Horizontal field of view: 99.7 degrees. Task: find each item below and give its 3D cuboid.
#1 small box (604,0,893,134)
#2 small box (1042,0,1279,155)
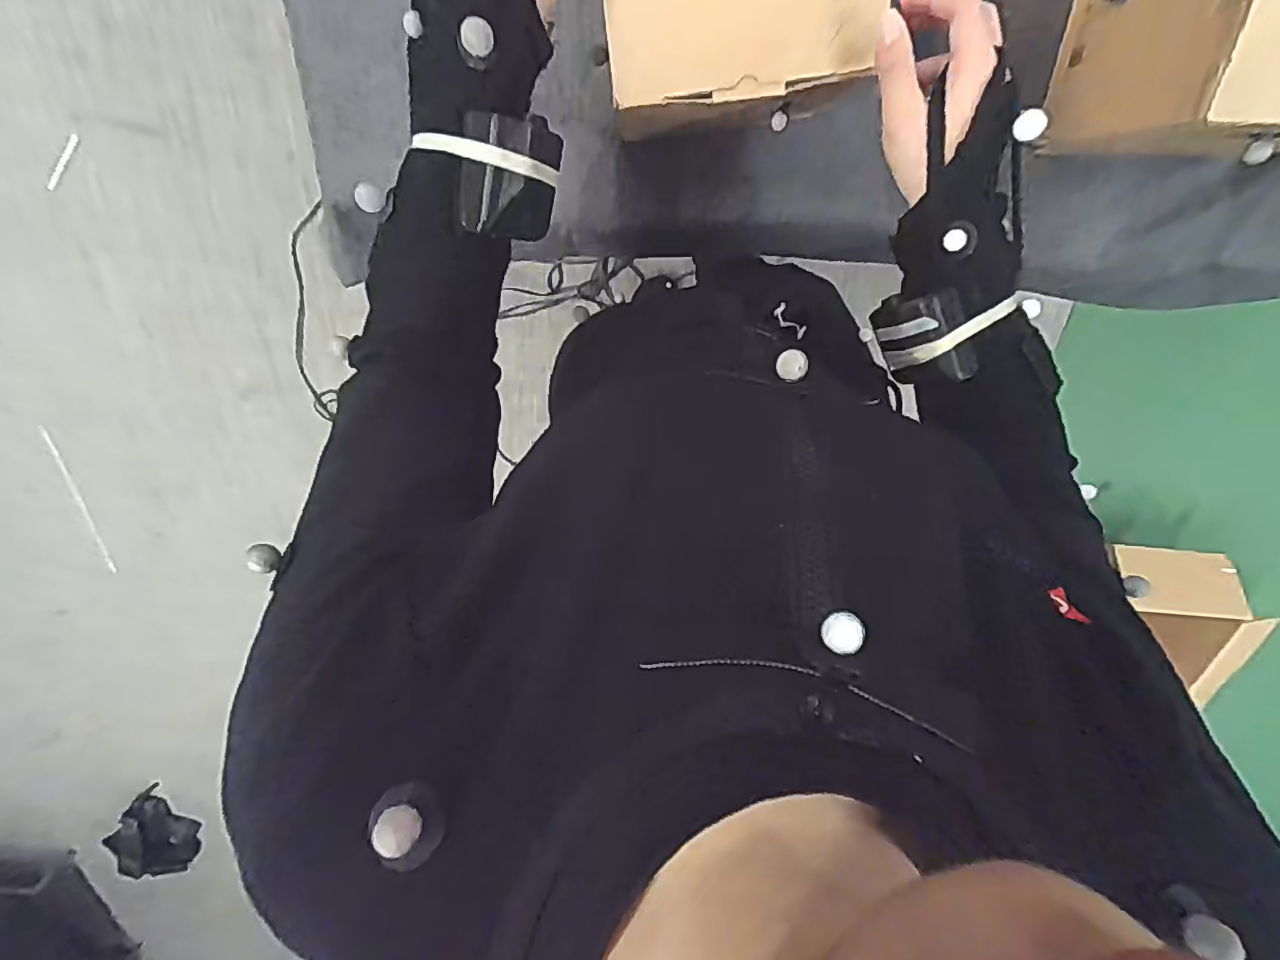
[{"bbox_3d":[0.058,-0.347,0.361,0.168,0.176,0.179,-6,115,3],"label":"small box"},{"bbox_3d":[0.432,-0.323,0.364,0.179,0.176,0.168,2,116,1],"label":"small box"}]
